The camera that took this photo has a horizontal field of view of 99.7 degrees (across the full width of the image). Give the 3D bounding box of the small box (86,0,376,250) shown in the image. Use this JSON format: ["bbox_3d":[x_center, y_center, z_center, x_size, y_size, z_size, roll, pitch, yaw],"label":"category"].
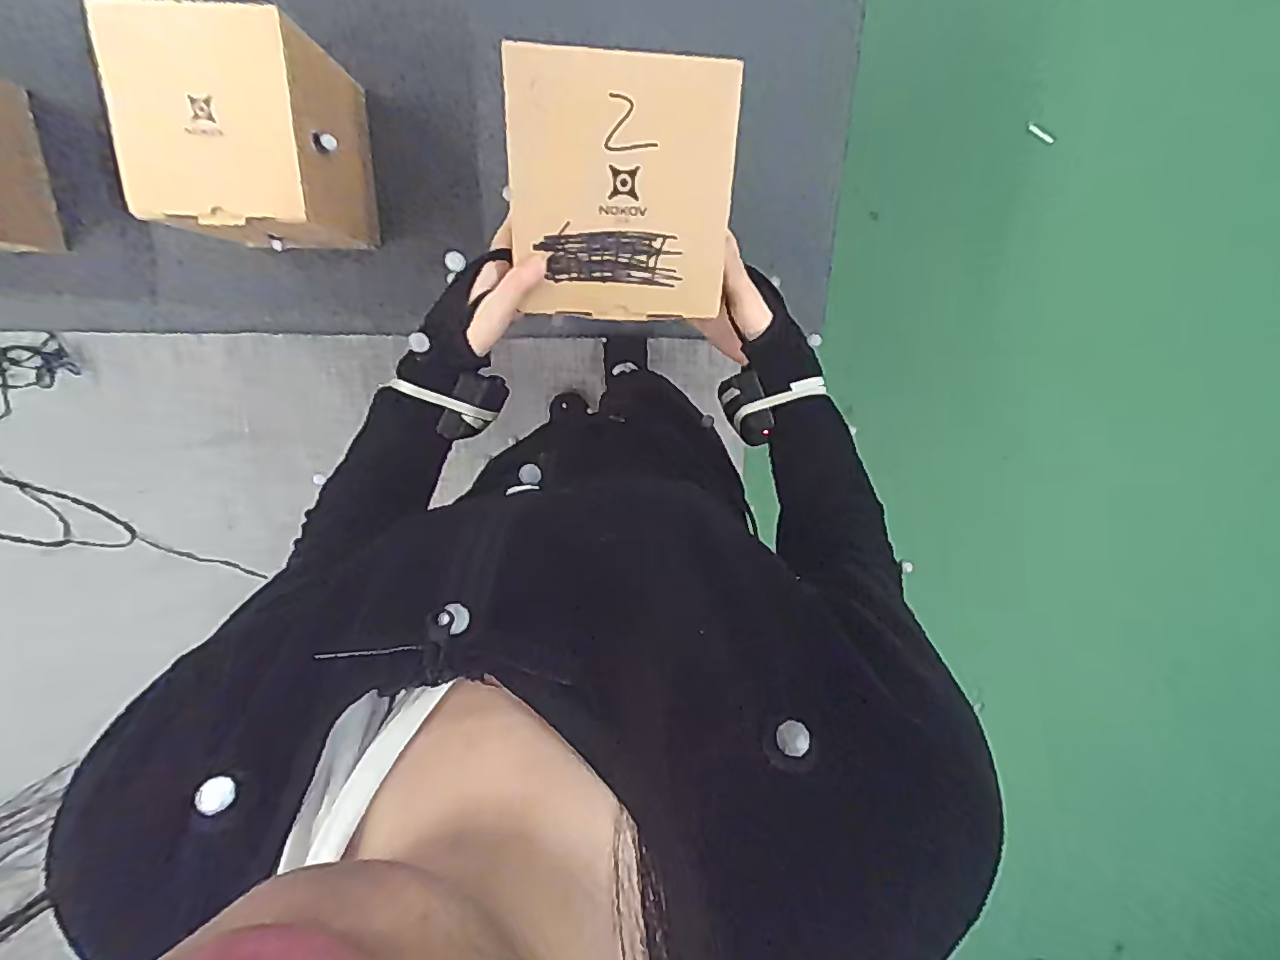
[{"bbox_3d":[-0.399,-0.349,0.565,0.168,0.176,0.179,0,105,-3],"label":"small box"}]

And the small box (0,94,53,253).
[{"bbox_3d":[-0.774,-0.337,0.545,0.168,0.176,0.179,0,105,-3],"label":"small box"}]
